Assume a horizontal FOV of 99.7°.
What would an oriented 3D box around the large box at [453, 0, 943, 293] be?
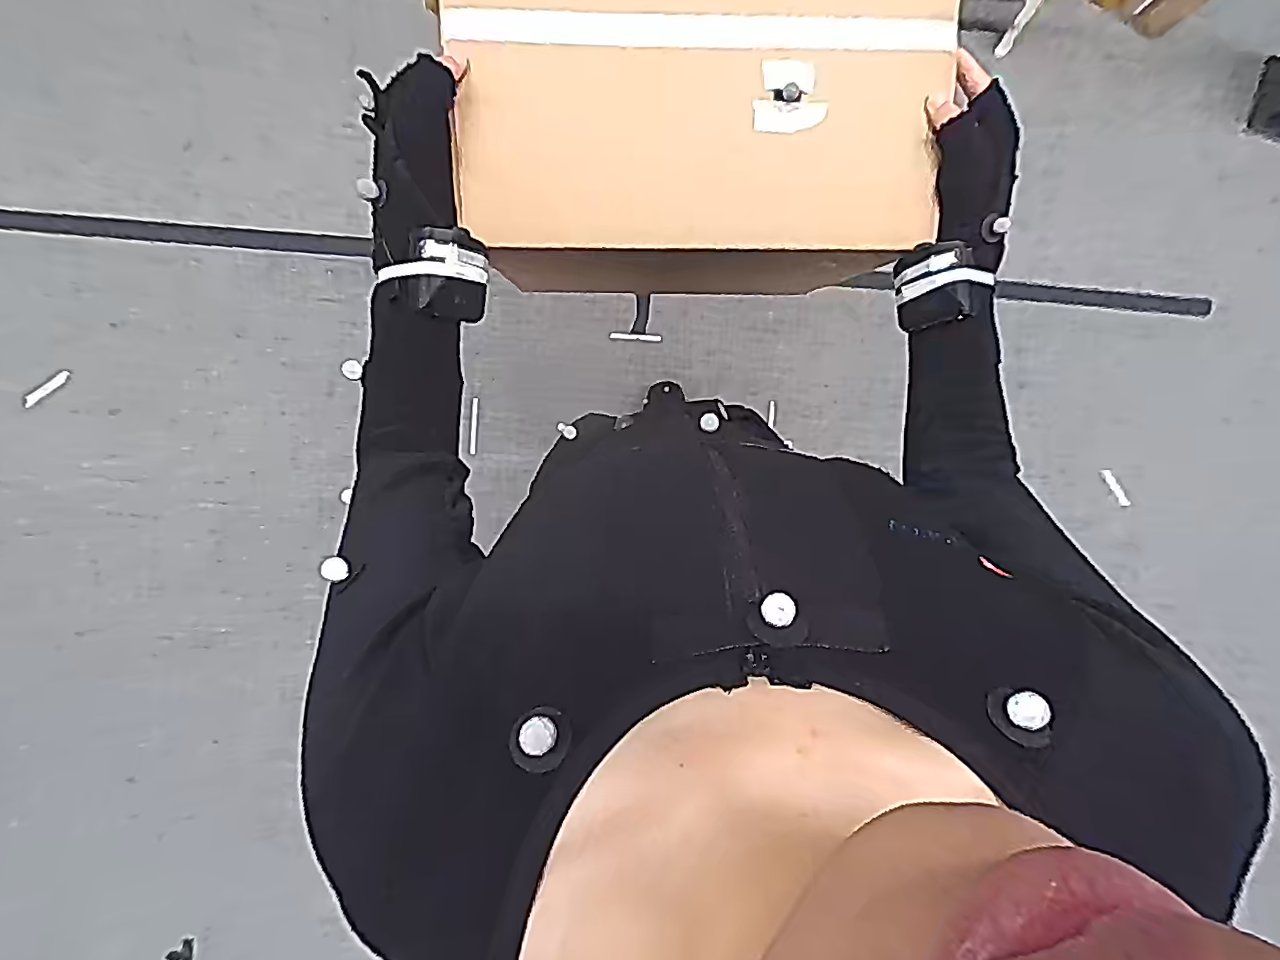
[{"bbox_3d":[0.040,-0.388,0.587,0.408,0.320,0.320,-2,103,-4],"label":"large box"}]
